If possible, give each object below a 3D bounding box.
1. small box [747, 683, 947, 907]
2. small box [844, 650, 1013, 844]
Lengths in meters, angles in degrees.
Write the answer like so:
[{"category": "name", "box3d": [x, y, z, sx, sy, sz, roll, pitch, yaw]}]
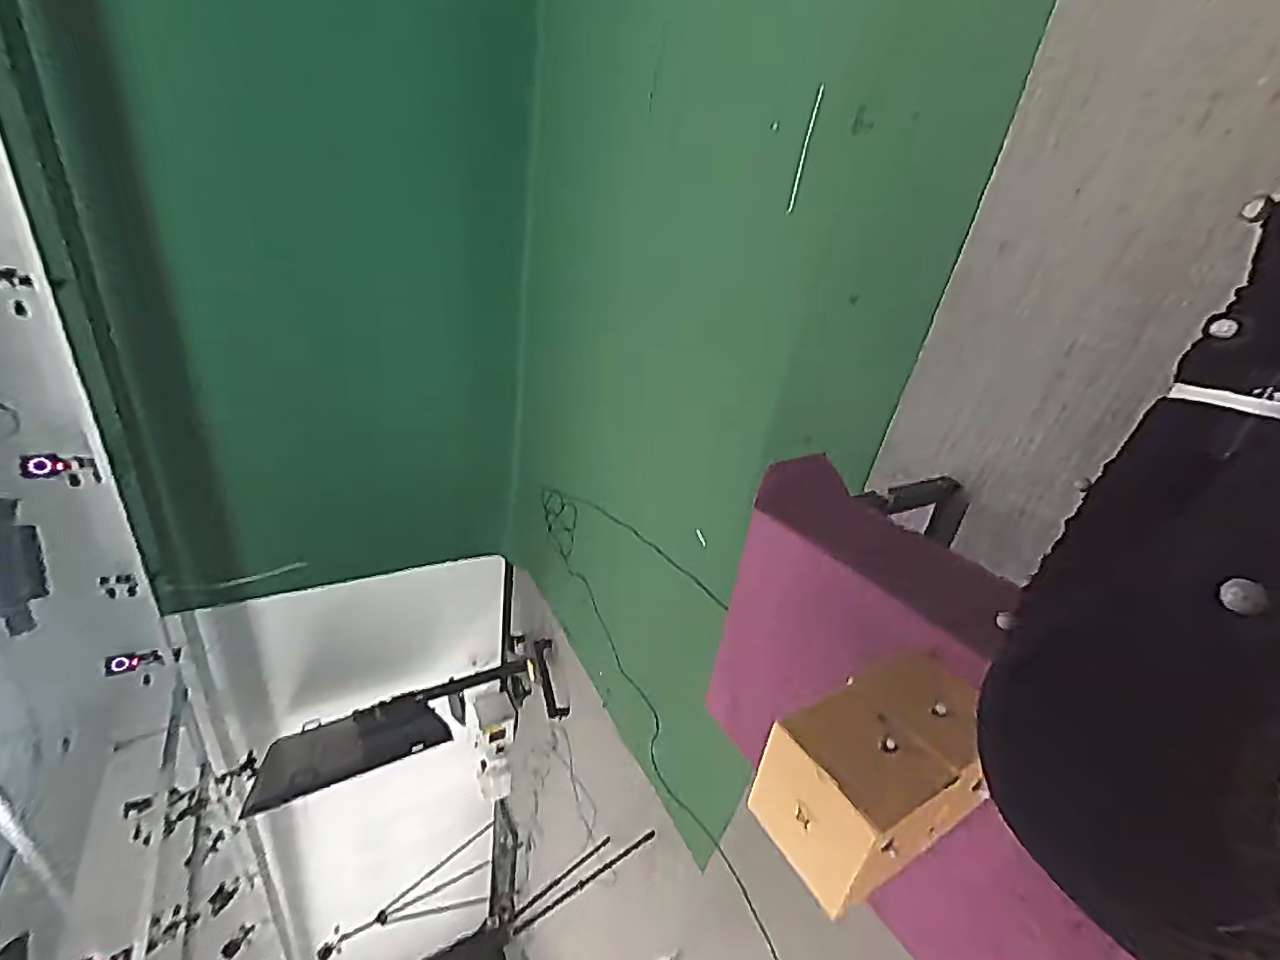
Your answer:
[{"category": "small box", "box3d": [0.275, 0.412, 0.732, 0.168, 0.176, 0.179, 41, 129, 49]}, {"category": "small box", "box3d": [0.414, 0.386, 0.815, 0.179, 0.176, 0.168, 38, 128, 49]}]
